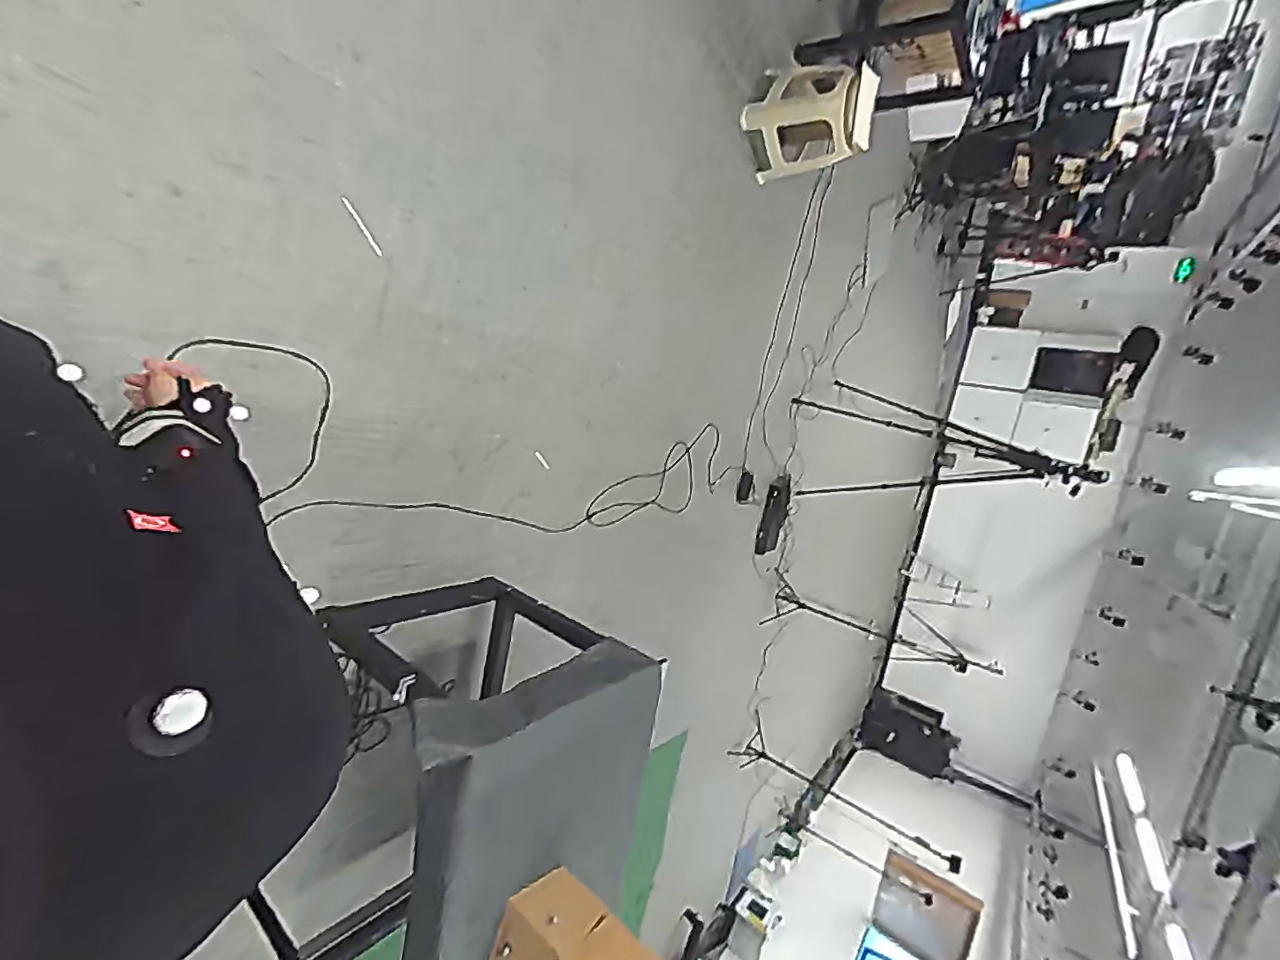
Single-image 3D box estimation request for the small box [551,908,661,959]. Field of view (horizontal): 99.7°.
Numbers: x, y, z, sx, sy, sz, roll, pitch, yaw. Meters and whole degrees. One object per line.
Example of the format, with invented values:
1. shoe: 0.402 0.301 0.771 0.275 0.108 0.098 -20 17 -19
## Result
1. small box: -0.087 1.015 1.066 0.179 0.176 0.168 4 100 -55
